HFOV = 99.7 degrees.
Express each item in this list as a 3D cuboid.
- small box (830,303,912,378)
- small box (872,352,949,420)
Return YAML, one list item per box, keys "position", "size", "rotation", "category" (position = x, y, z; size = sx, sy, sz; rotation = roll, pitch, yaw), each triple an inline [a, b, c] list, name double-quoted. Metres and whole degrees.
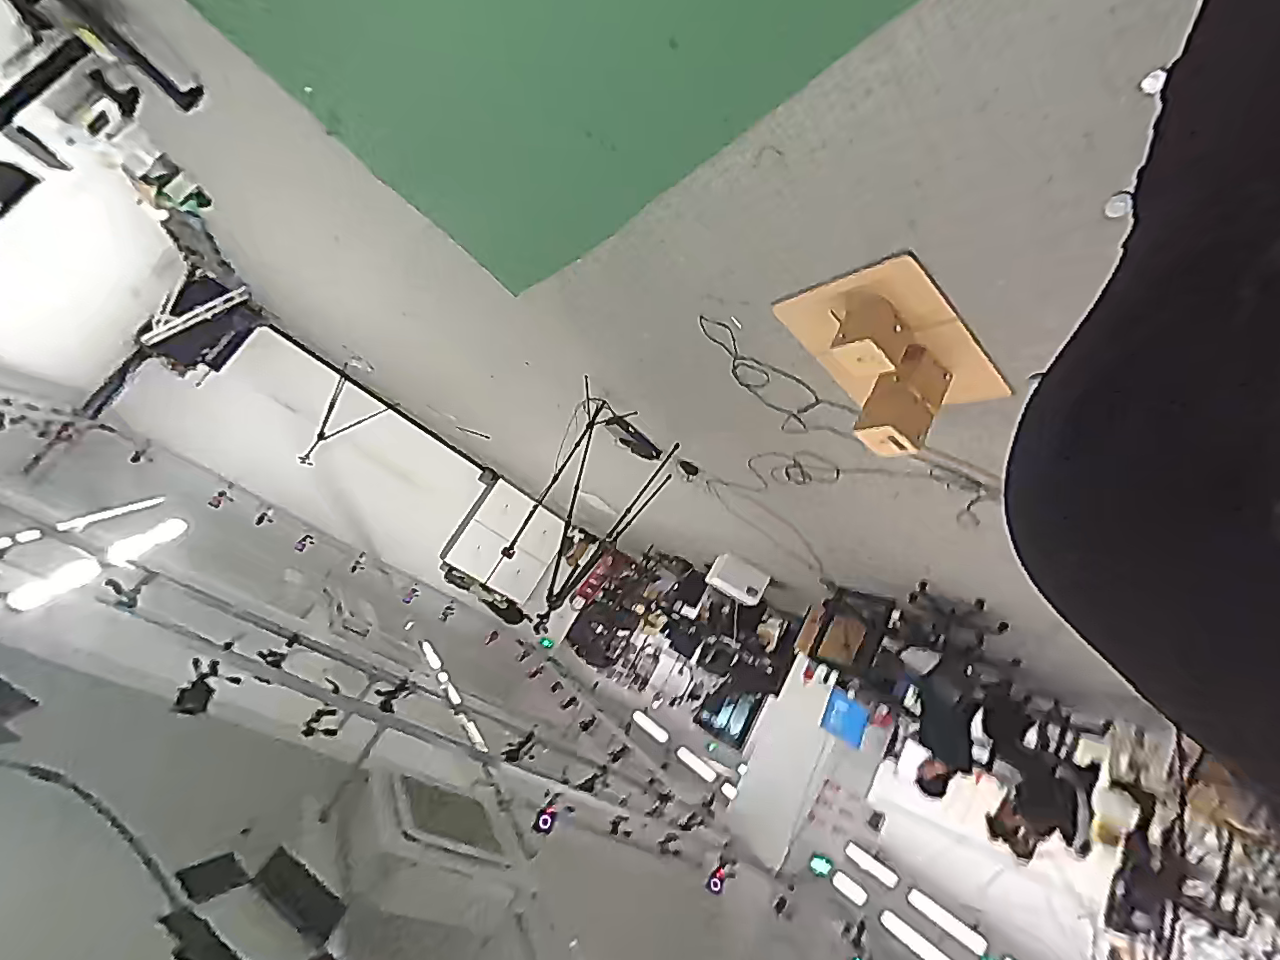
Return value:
- position: [0.805, -0.483, 1.878]
  size: [0.168, 0.176, 0.179]
  rotation: [36, 164, -24]
  category: "small box"
- position: [0.992, -0.343, 1.969]
  size: [0.168, 0.176, 0.179]
  rotation: [36, 165, -20]
  category: "small box"
